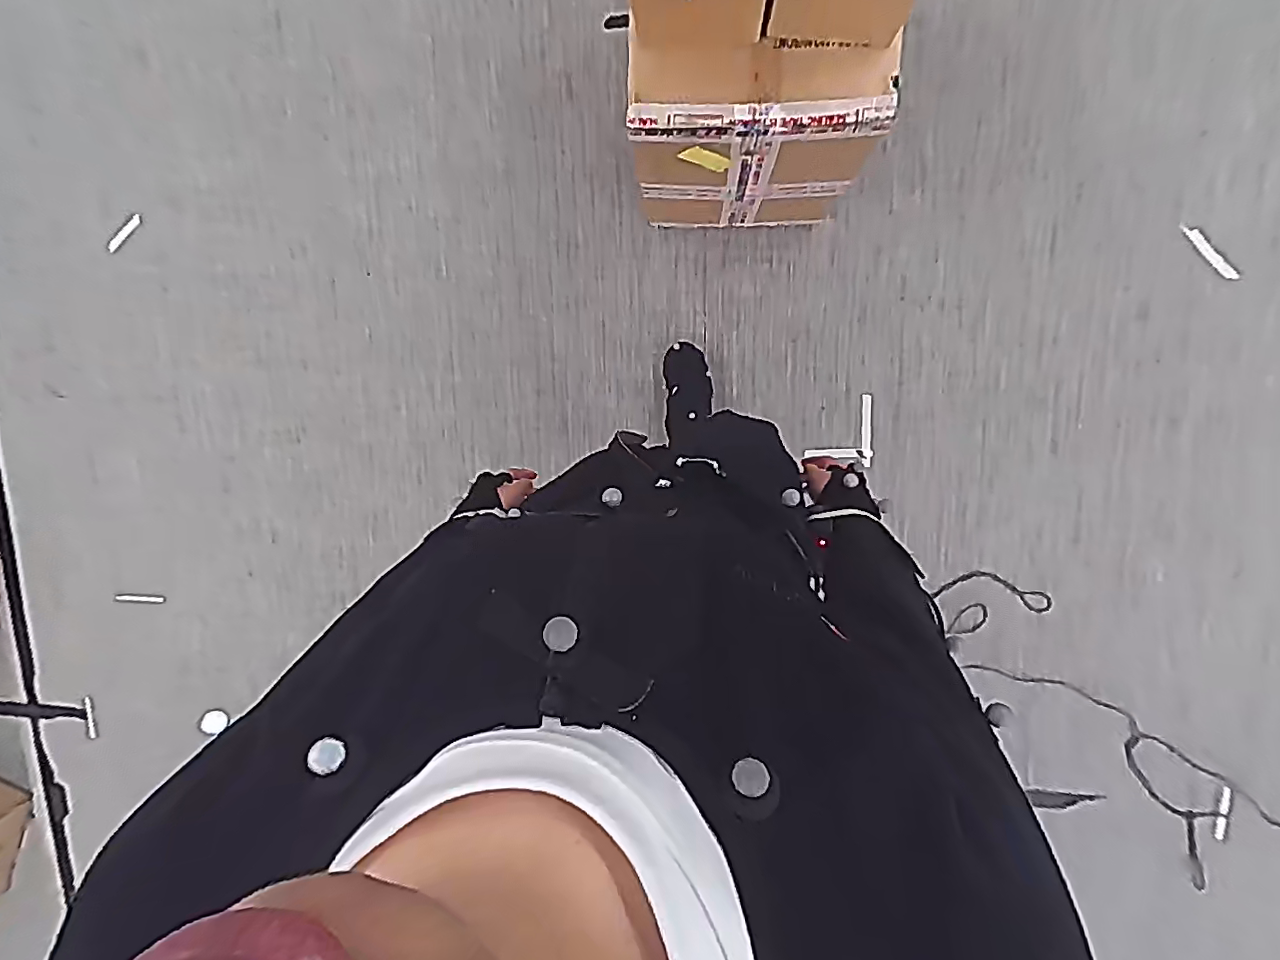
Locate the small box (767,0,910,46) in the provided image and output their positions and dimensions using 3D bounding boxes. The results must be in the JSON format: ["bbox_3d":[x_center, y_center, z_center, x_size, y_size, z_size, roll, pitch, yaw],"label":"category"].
[{"bbox_3d":[0.262,-0.676,0.665,0.179,0.176,0.168,7,100,3],"label":"small box"}]
